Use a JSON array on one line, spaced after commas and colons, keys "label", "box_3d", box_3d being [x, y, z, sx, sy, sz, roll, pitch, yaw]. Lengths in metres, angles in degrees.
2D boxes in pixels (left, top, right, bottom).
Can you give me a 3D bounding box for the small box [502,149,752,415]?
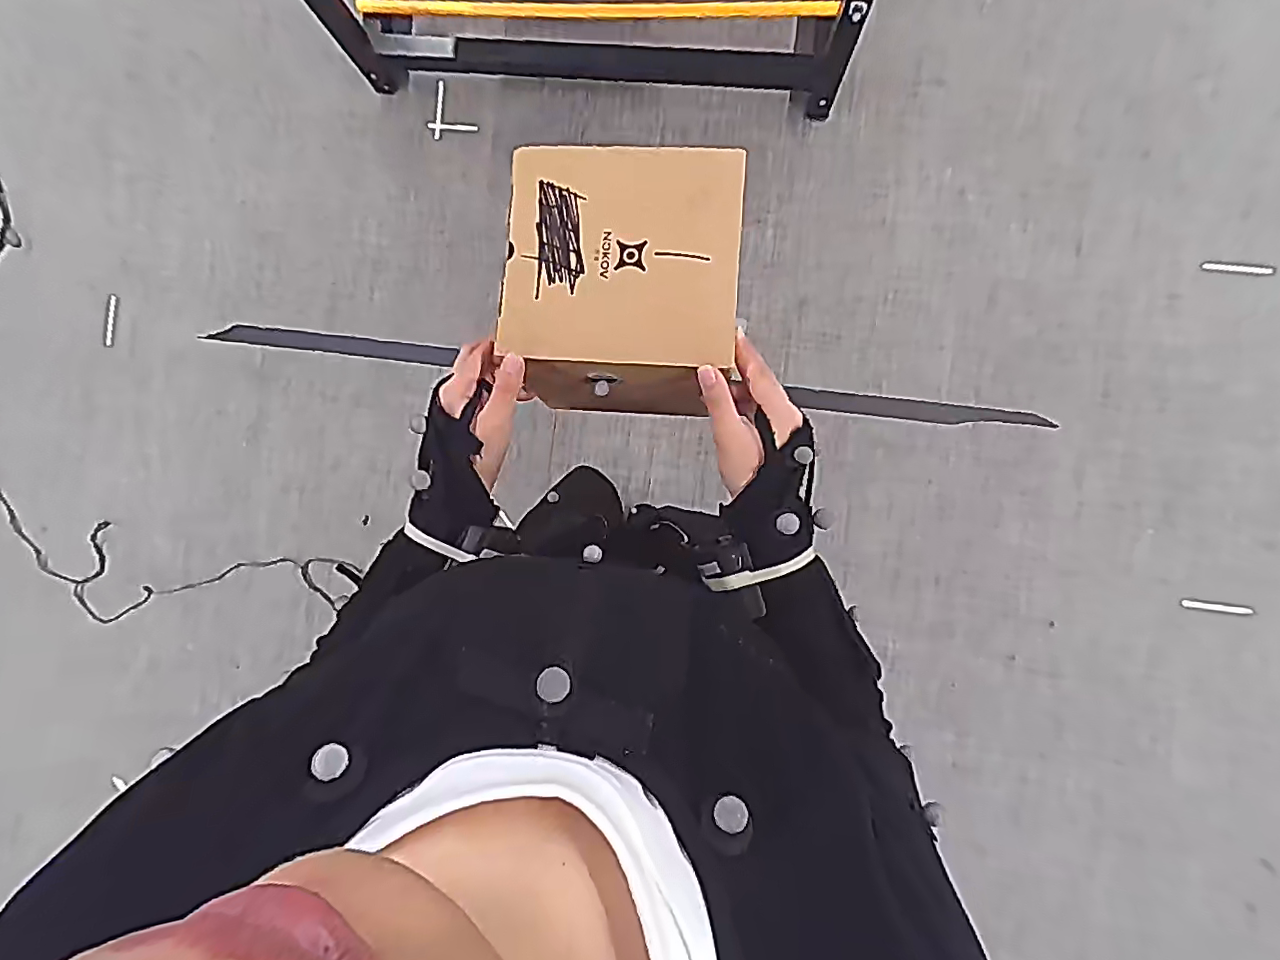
[{"label": "small box", "box_3d": [-0.003, -0.156, 0.475, 0.179, 0.176, 0.168, 4, 85, 5]}]
